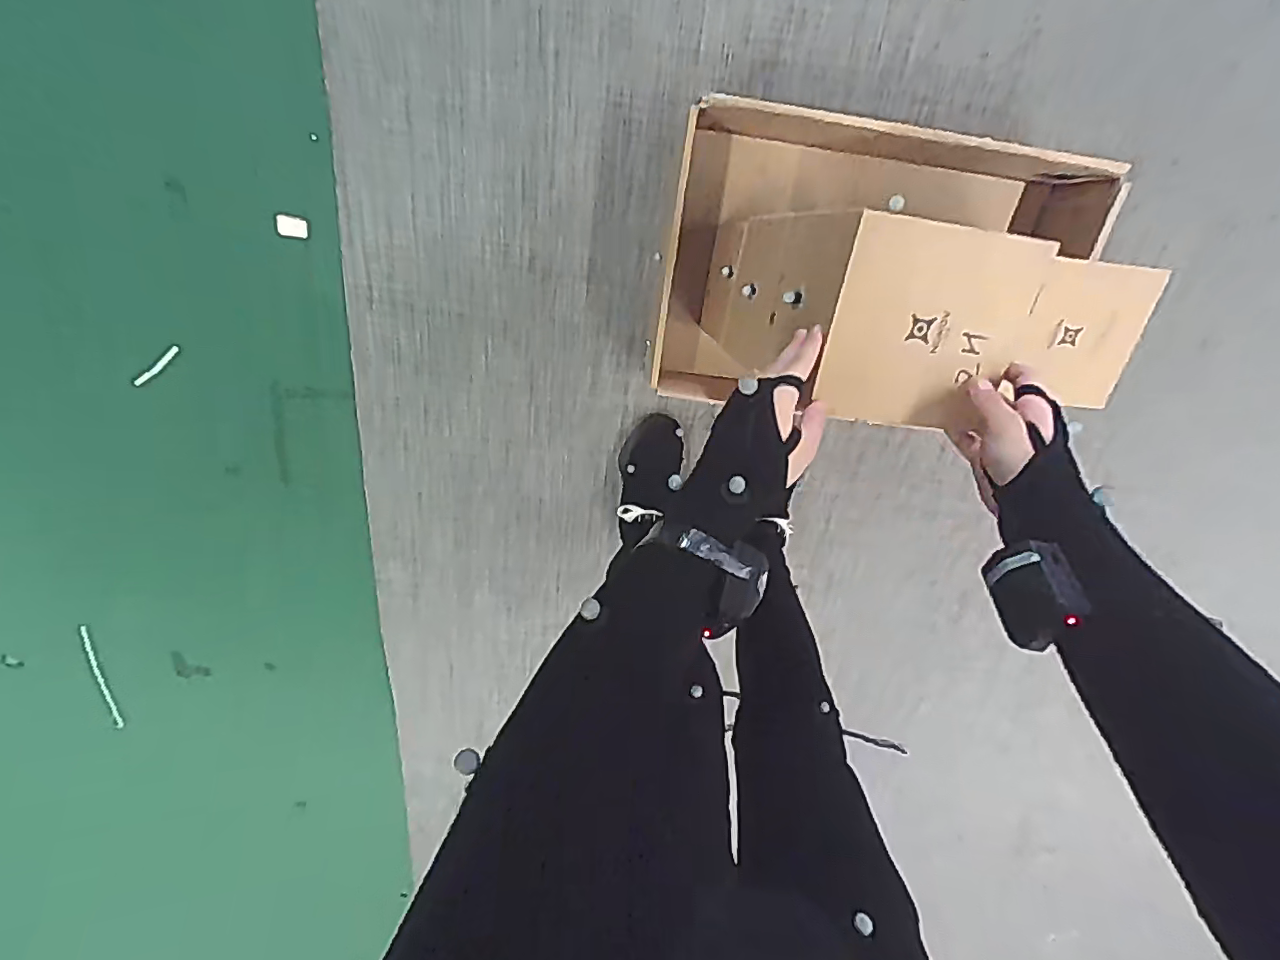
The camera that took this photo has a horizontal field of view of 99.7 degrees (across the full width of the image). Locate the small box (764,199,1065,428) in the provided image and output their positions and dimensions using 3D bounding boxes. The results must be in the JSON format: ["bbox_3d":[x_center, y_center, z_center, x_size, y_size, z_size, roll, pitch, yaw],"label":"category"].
[{"bbox_3d":[0.237,-0.162,0.524,0.179,0.176,0.168,6,114,-8],"label":"small box"}]

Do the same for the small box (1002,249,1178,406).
[{"bbox_3d":[0.496,-0.205,0.694,0.179,0.176,0.168,5,116,-4],"label":"small box"}]
